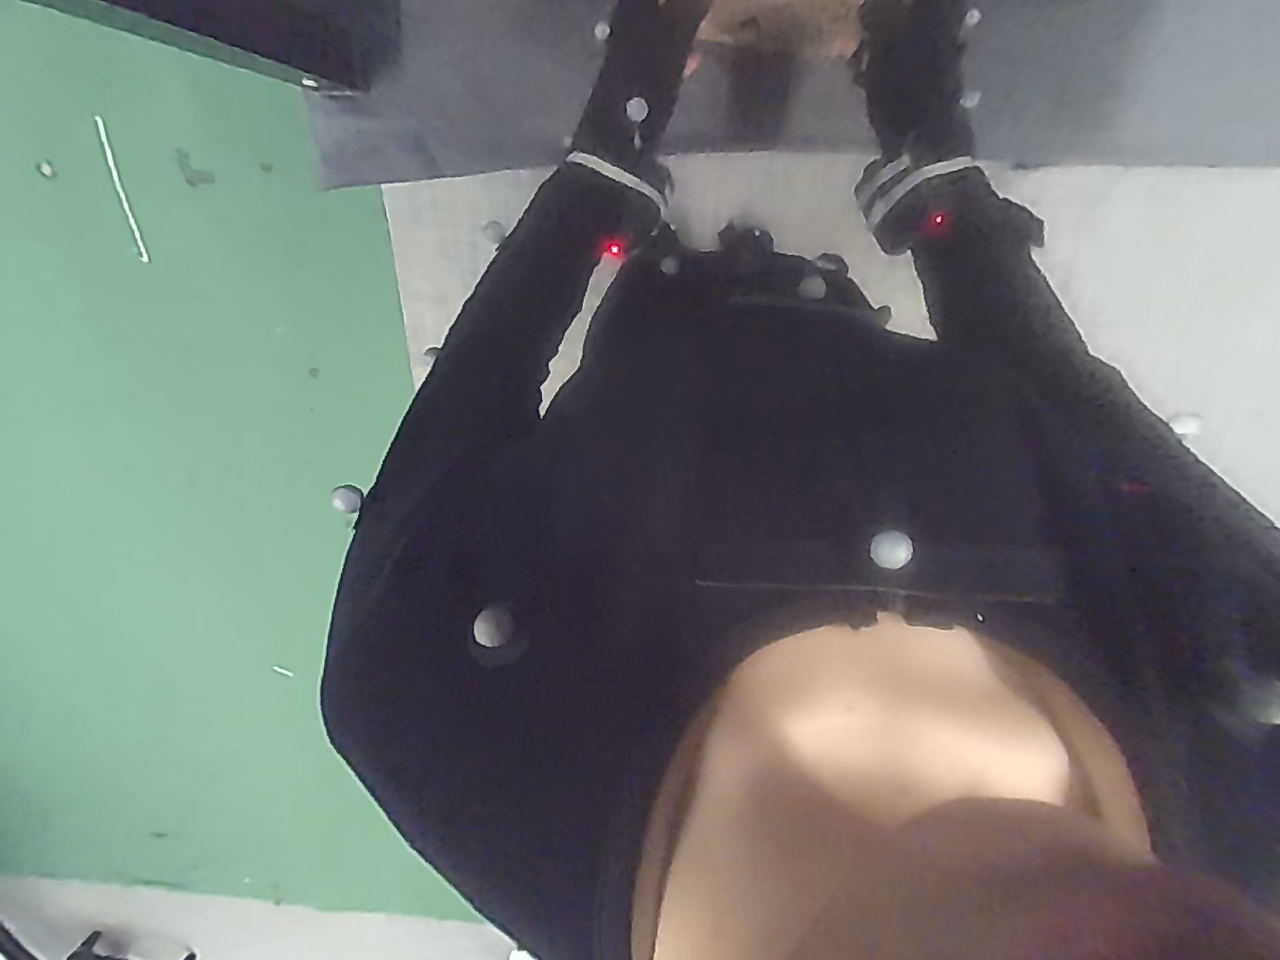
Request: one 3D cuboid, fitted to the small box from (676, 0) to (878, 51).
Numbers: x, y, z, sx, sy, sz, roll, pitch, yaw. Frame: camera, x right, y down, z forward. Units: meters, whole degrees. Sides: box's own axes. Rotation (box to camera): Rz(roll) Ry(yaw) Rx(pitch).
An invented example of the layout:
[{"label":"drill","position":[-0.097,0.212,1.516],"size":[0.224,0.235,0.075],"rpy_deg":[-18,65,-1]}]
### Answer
[{"label":"small box","position":[0.116,-0.479,0.429],"size":[0.168,0.176,0.179],"rpy_deg":[6,116,2]}]
